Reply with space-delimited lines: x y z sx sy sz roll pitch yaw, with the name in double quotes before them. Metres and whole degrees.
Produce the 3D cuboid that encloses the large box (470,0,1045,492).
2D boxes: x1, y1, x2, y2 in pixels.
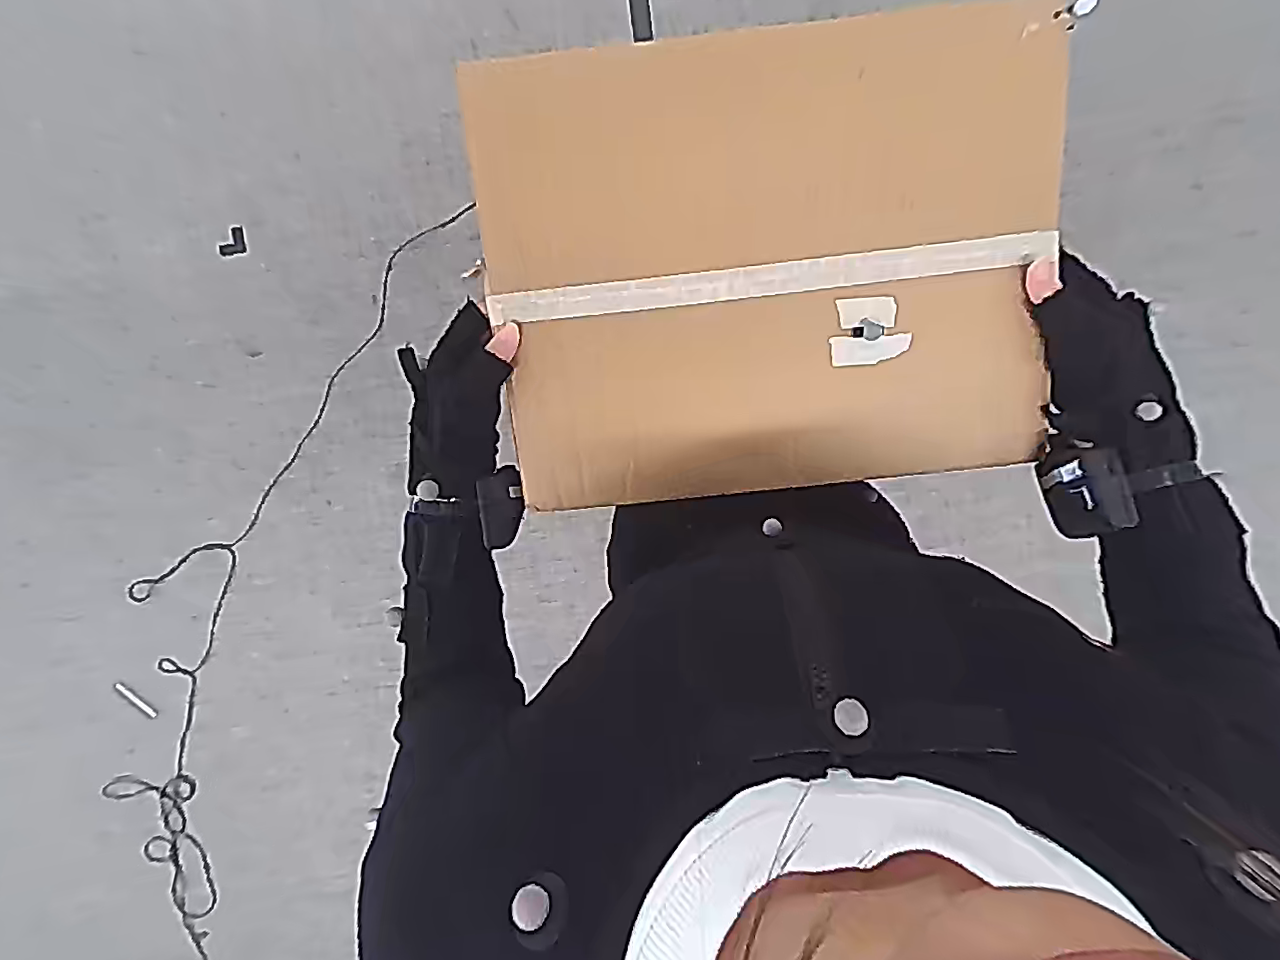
"large box" 0.095 -0.195 0.548 0.408 0.320 0.320 -7 104 2
